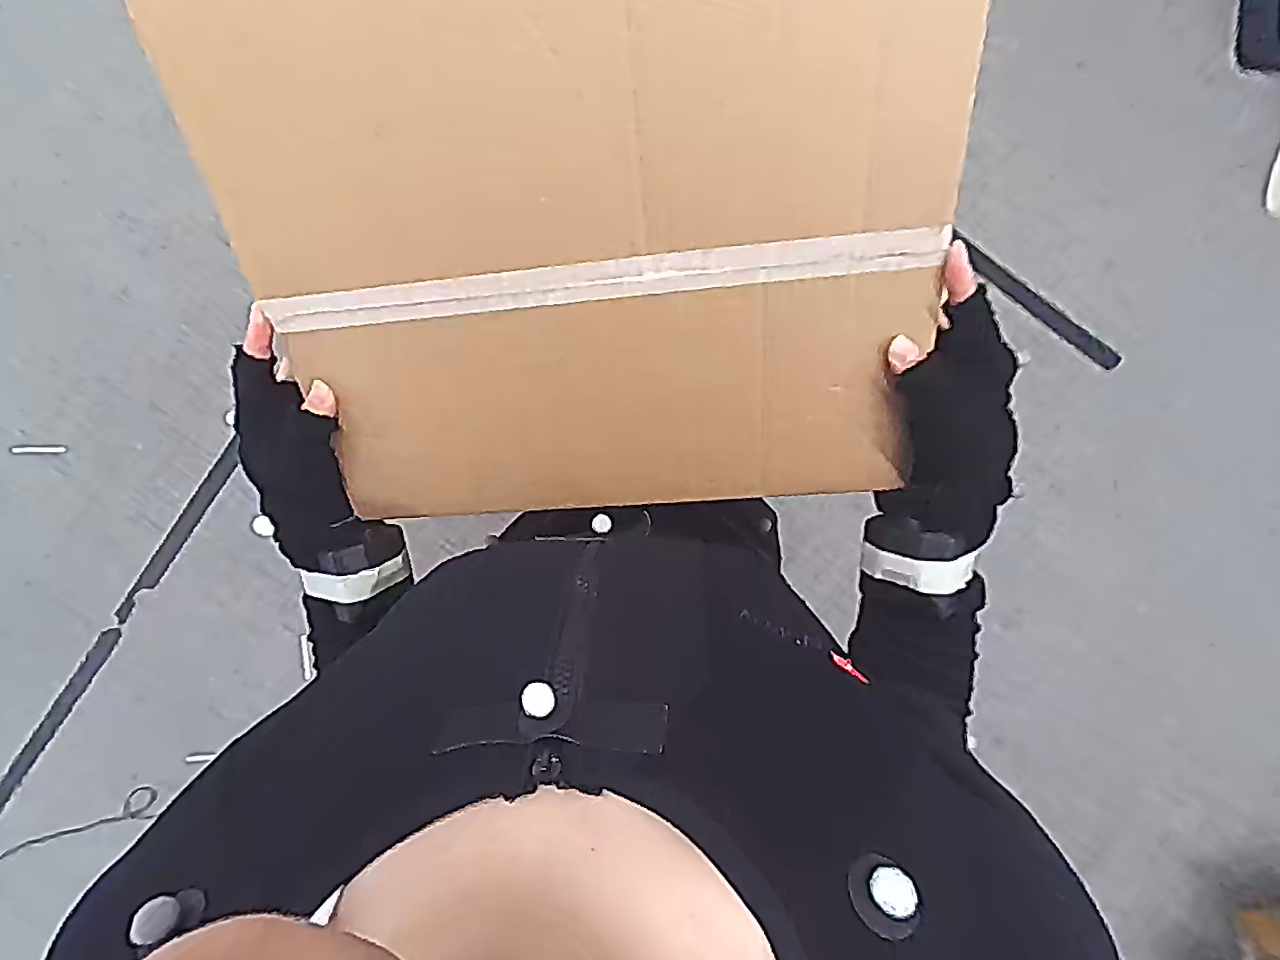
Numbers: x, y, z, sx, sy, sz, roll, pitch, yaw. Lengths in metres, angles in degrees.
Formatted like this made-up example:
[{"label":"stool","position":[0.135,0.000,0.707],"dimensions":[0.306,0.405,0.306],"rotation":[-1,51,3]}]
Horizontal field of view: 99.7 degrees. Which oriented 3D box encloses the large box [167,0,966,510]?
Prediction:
[{"label":"large box","position":[-0.024,-0.197,0.455],"dimensions":[0.408,0.320,0.320],"rotation":[-3,121,6]}]
